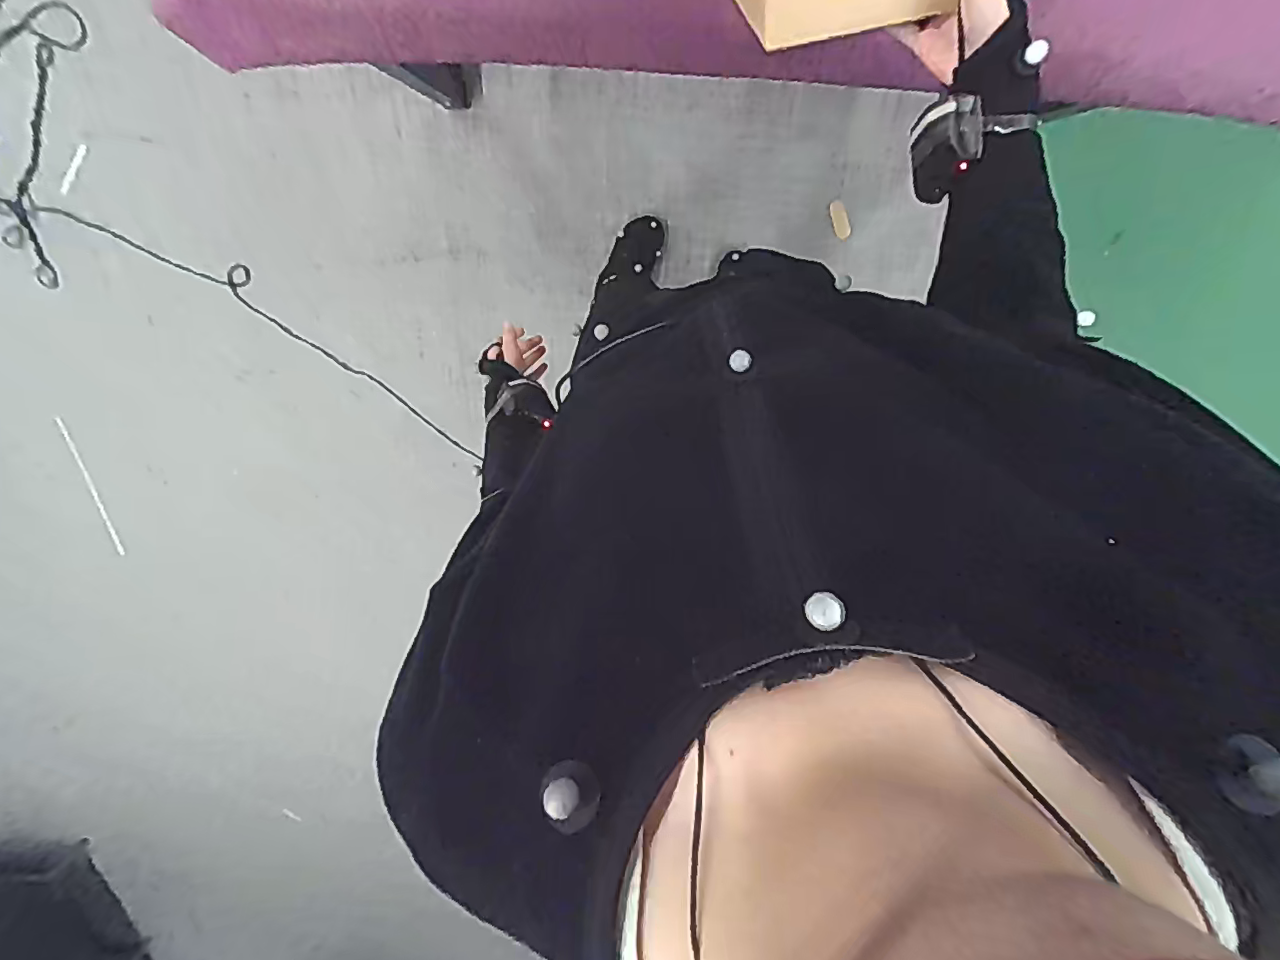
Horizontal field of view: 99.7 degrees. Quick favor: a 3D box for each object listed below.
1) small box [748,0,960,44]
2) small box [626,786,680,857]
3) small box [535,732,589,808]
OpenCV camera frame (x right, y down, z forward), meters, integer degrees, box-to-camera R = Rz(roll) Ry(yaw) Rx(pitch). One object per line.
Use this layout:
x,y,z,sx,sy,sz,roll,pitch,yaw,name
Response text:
0.170,-0.499,0.434,0.168,0.176,0.179,-8,144,5,small box
0.052,1.316,2.091,0.179,0.176,0.168,-11,114,8,small box
-0.282,1.056,1.977,0.168,0.176,0.179,9,115,-1,small box
